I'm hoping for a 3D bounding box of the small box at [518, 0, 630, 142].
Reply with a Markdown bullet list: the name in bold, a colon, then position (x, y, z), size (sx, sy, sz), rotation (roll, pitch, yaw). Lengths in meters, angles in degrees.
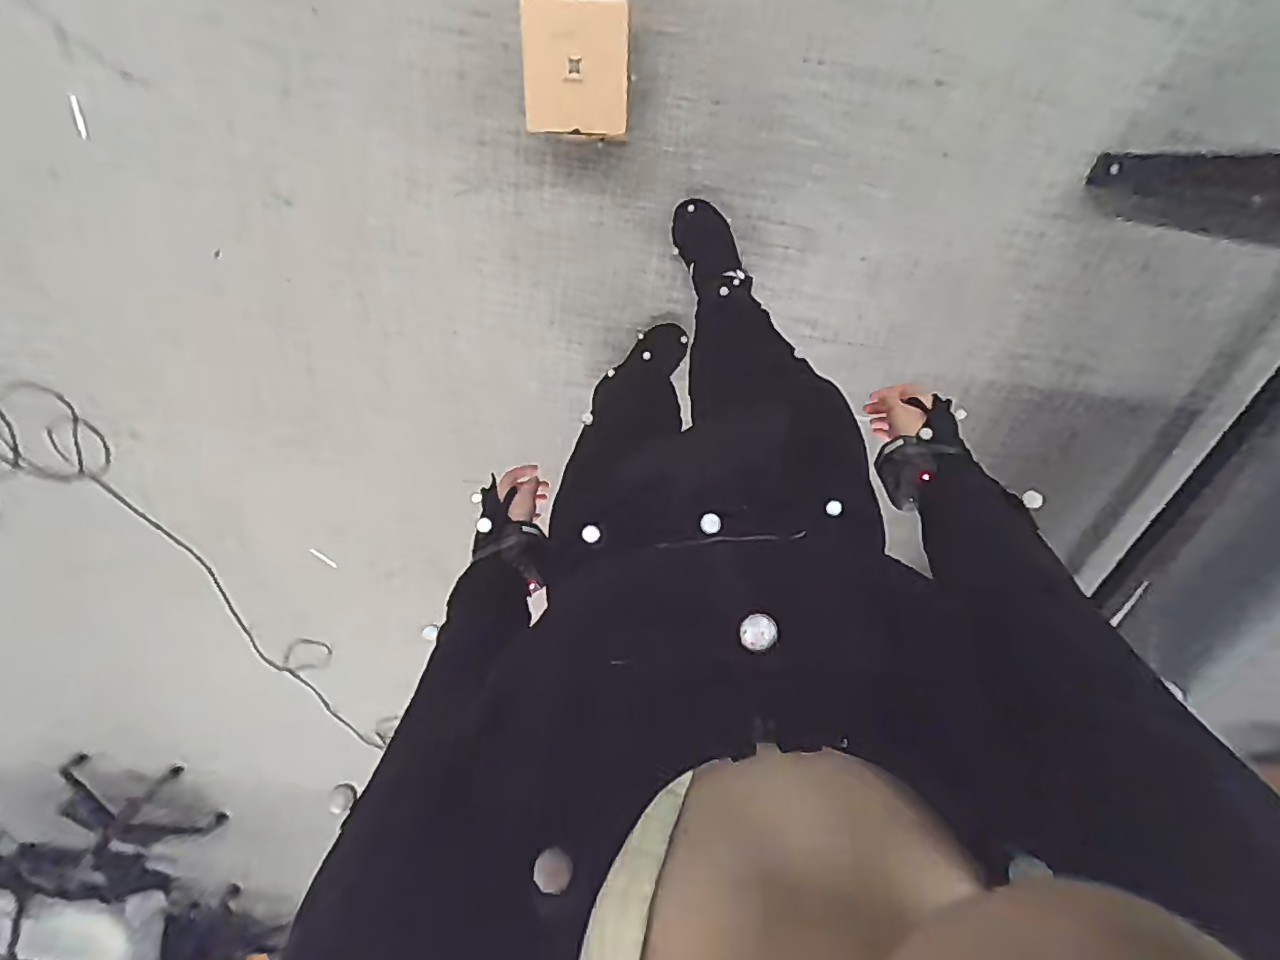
- **small box**: position (-0.104, -0.683, 0.922), size (0.168, 0.176, 0.179), rotation (2, 120, 0)
